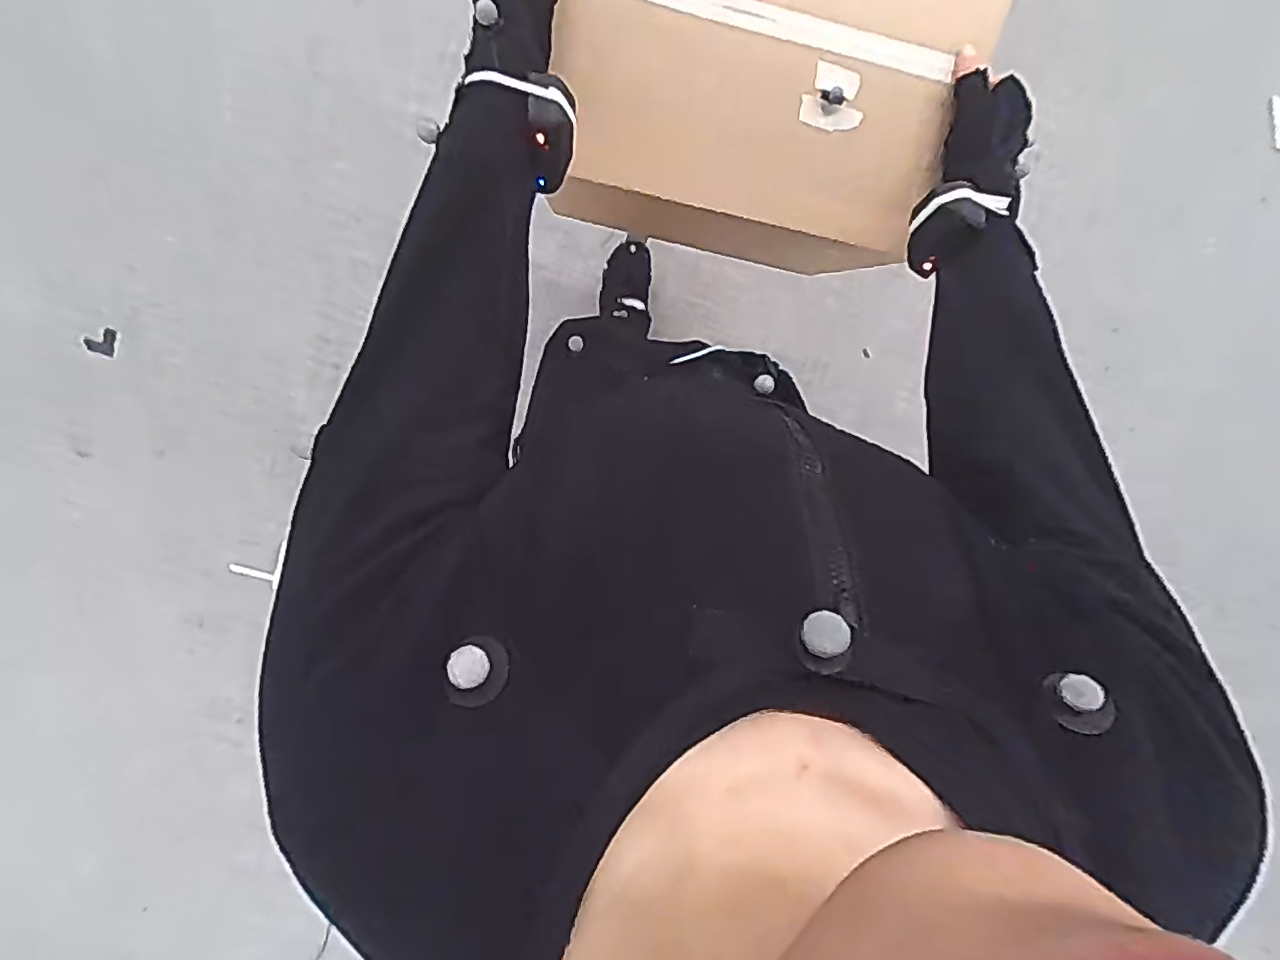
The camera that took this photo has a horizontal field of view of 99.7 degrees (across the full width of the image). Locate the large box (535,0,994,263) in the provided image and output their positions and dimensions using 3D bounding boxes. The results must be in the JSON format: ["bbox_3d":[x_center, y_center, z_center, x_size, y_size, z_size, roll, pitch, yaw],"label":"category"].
[{"bbox_3d":[0.108,-0.463,0.634,0.408,0.320,0.320,10,109,-8],"label":"large box"}]
